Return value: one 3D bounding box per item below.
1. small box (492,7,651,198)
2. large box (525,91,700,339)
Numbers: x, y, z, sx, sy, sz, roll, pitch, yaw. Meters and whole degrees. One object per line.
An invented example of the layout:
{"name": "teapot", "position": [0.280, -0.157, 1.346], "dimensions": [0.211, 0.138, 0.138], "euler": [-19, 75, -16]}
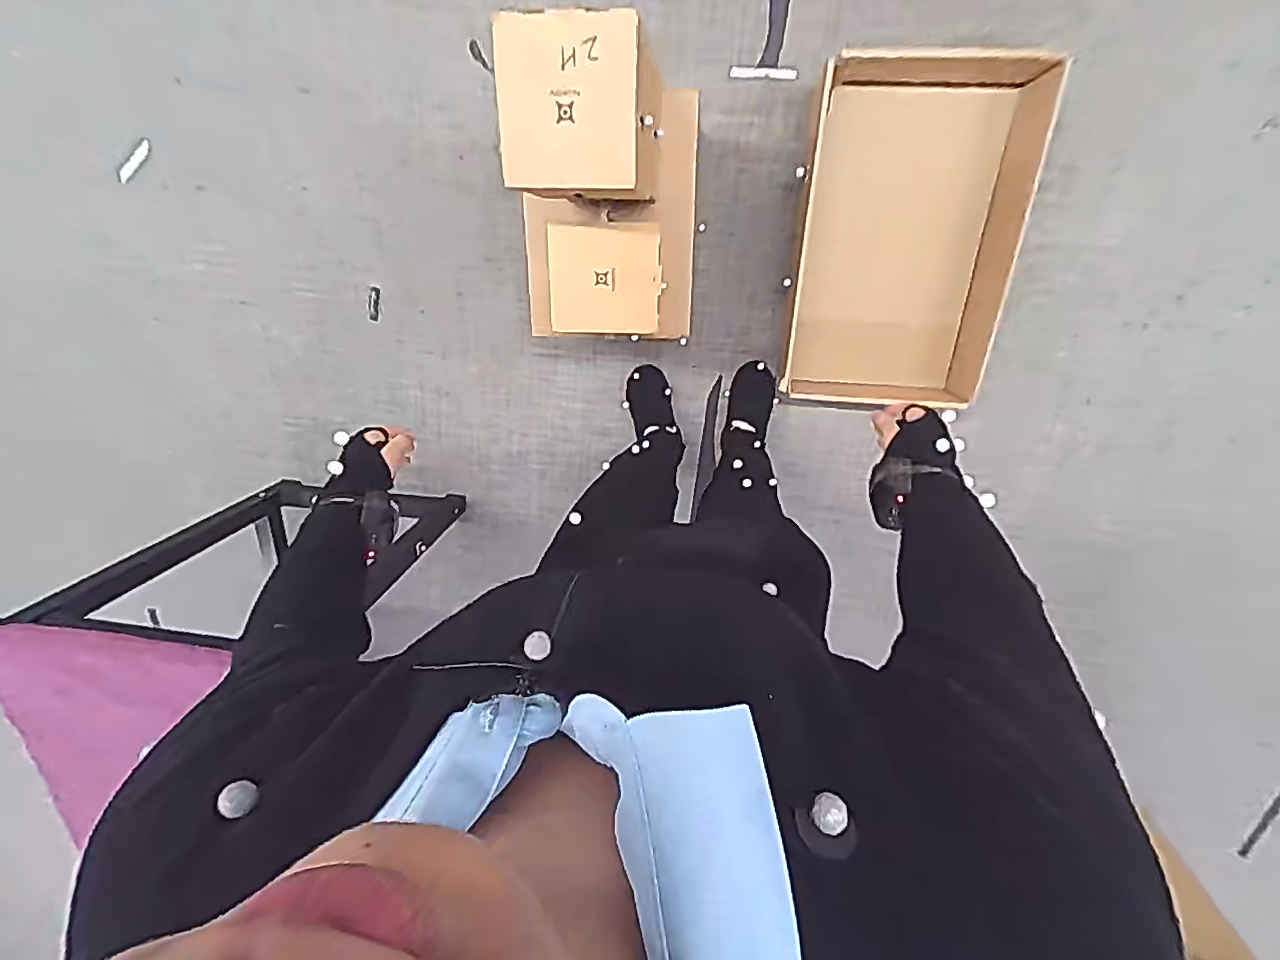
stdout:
{"name": "small box", "position": [-0.076, -0.466, 0.694], "dimensions": [0.168, 0.176, 0.179], "euler": [4, 113, 5]}
{"name": "large box", "position": [-0.038, -0.519, 1.112], "dimensions": [0.320, 0.320, 0.408], "euler": [3, 113, 6]}
